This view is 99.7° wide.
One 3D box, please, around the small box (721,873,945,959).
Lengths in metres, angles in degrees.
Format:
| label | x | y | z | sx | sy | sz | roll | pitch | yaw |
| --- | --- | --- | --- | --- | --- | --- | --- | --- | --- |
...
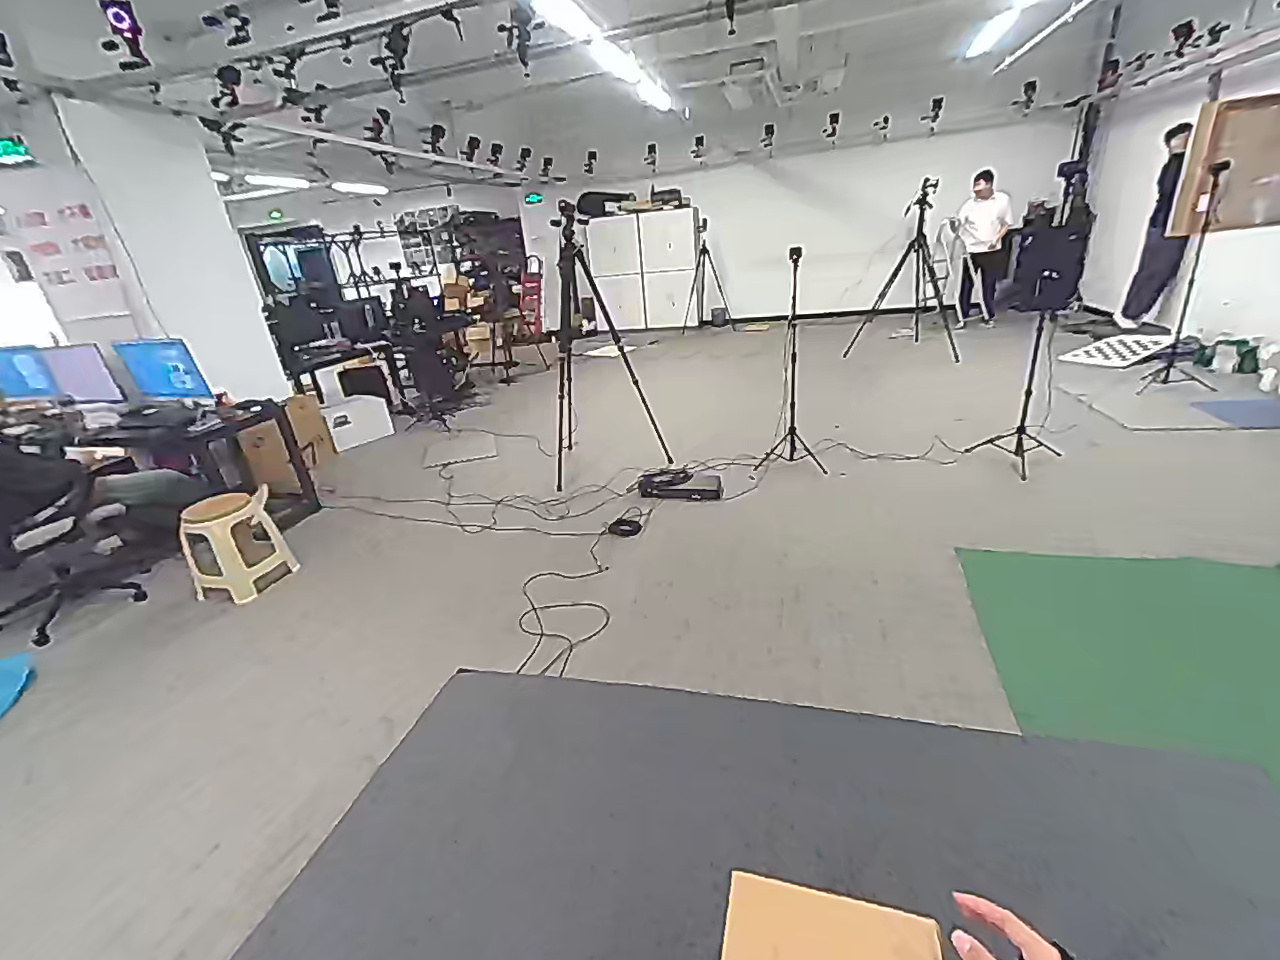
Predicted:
| label | x | y | z | sx | sy | sz | roll | pitch | yaw |
| --- | --- | --- | --- | --- | --- | --- | --- | --- | --- |
| small box | 0.154 | 0.477 | 0.441 | 0.179 | 0.176 | 0.168 | 1 | 22 | 18 |
